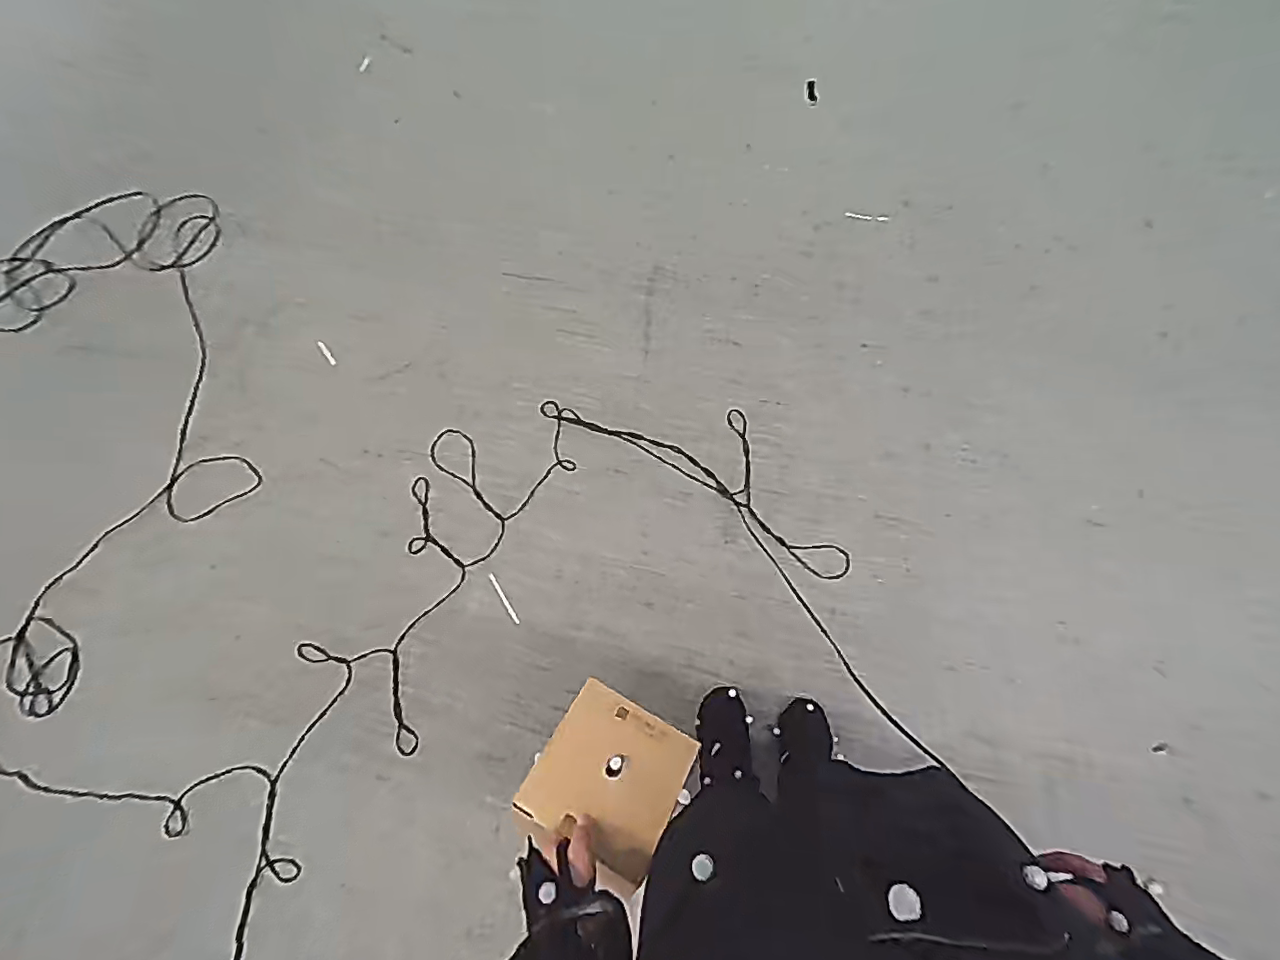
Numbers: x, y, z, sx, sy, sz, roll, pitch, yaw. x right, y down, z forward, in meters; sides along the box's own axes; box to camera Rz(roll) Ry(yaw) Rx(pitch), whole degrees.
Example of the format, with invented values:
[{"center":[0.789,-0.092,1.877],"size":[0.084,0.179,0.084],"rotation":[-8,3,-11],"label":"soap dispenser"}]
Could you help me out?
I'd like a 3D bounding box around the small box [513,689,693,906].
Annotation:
[{"center":[-0.046,0.402,0.695],"size":[0.168,0.179,0.176],"rotation":[26,48,11],"label":"small box"}]
